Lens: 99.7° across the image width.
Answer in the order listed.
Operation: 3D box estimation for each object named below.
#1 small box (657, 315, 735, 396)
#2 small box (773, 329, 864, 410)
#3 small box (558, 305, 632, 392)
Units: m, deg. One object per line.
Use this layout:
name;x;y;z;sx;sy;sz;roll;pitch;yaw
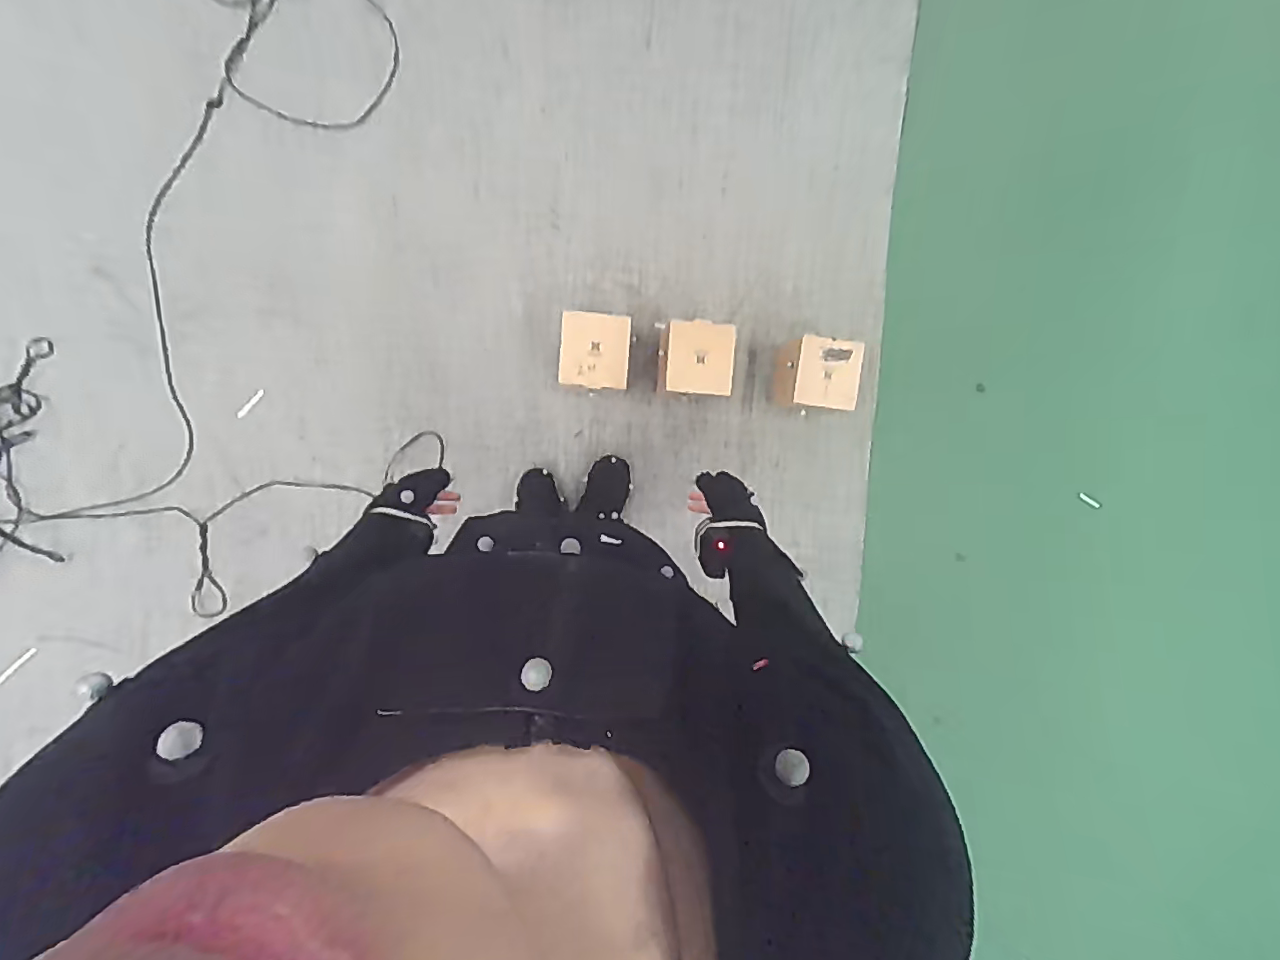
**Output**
small box;0.138;-0.312;1.389;0.168;0.176;0.179;3;93;-6
small box;0.462;-0.284;1.422;0.168;0.176;0.179;7;94;-6
small box;-0.115;-0.324;1.360;0.168;0.176;0.179;4;94;-5
